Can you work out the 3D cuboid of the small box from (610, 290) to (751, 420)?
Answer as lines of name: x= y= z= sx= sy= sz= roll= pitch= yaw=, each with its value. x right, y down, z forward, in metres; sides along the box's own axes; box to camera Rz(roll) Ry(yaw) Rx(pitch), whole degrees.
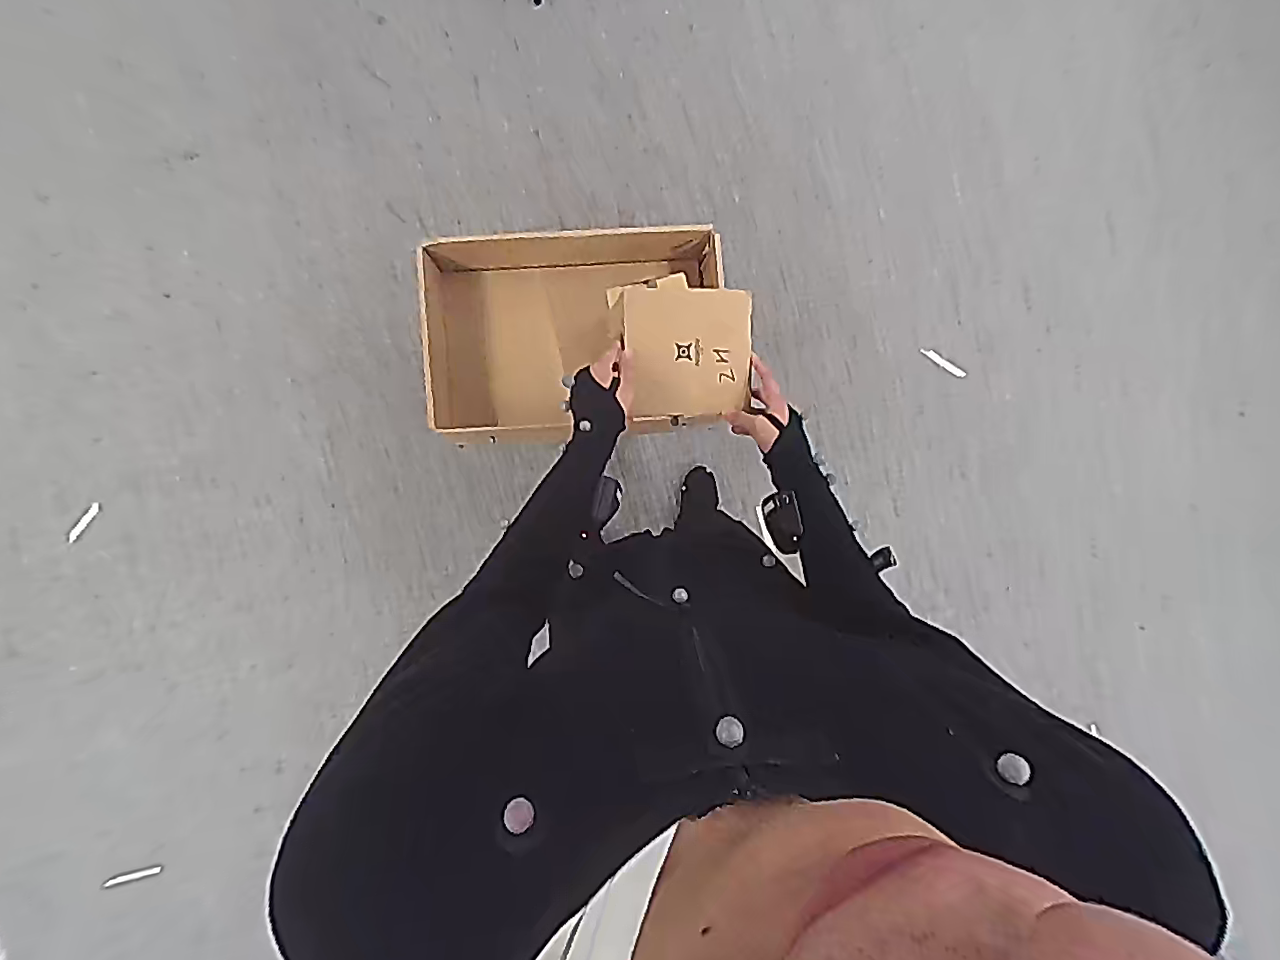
small box: x=0.048 y=-0.171 z=0.783 sx=0.179 sy=0.176 sz=0.168 roll=-2 pitch=98 yaw=-9
